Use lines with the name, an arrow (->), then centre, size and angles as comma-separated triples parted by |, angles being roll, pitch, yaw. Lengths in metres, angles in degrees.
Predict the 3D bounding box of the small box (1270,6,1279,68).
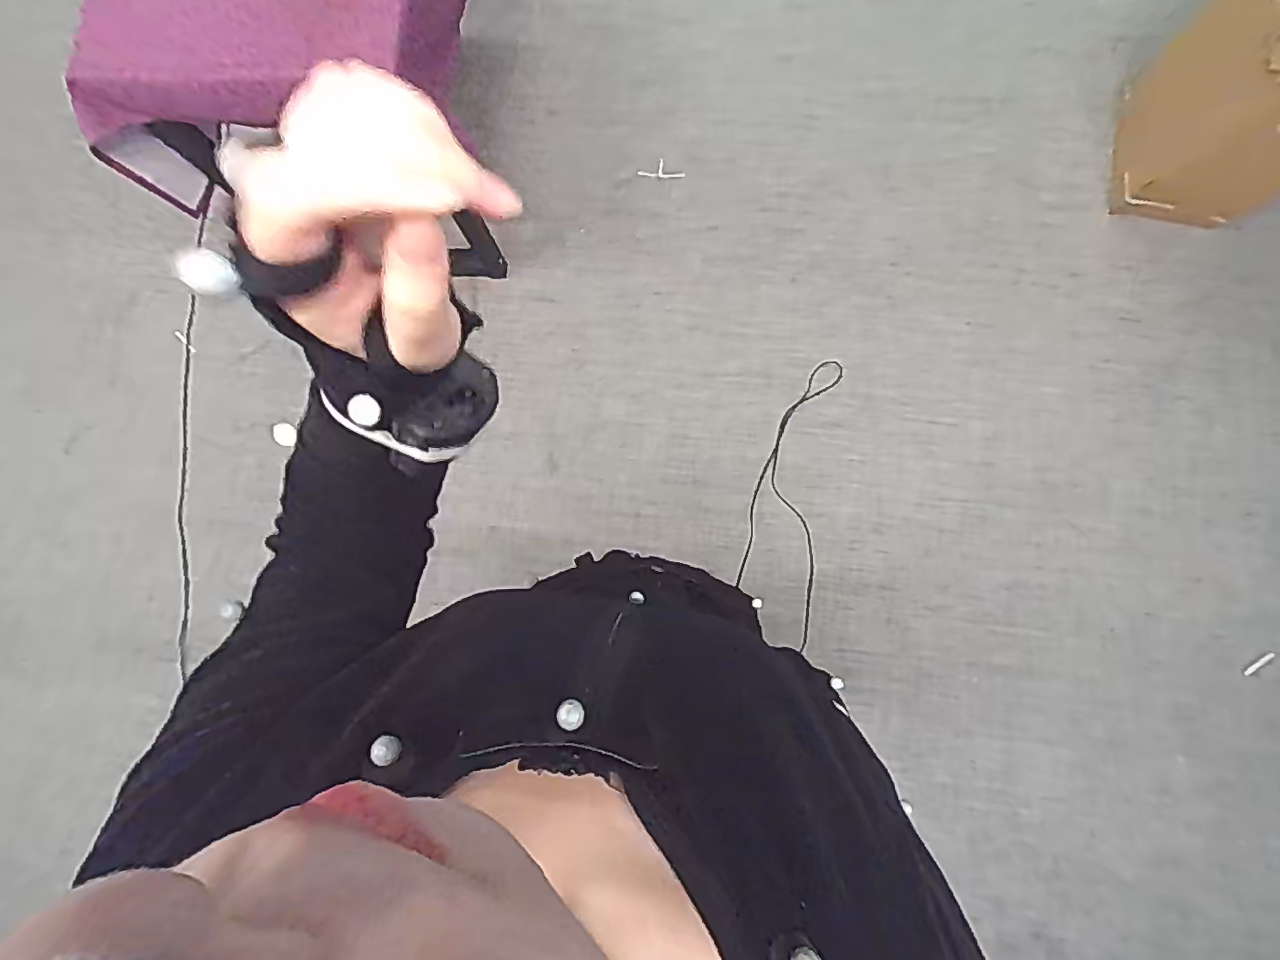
small box -> 1.449, -0.951, 1.082 | 0.179, 0.176, 0.168 | 13, 82, 3
